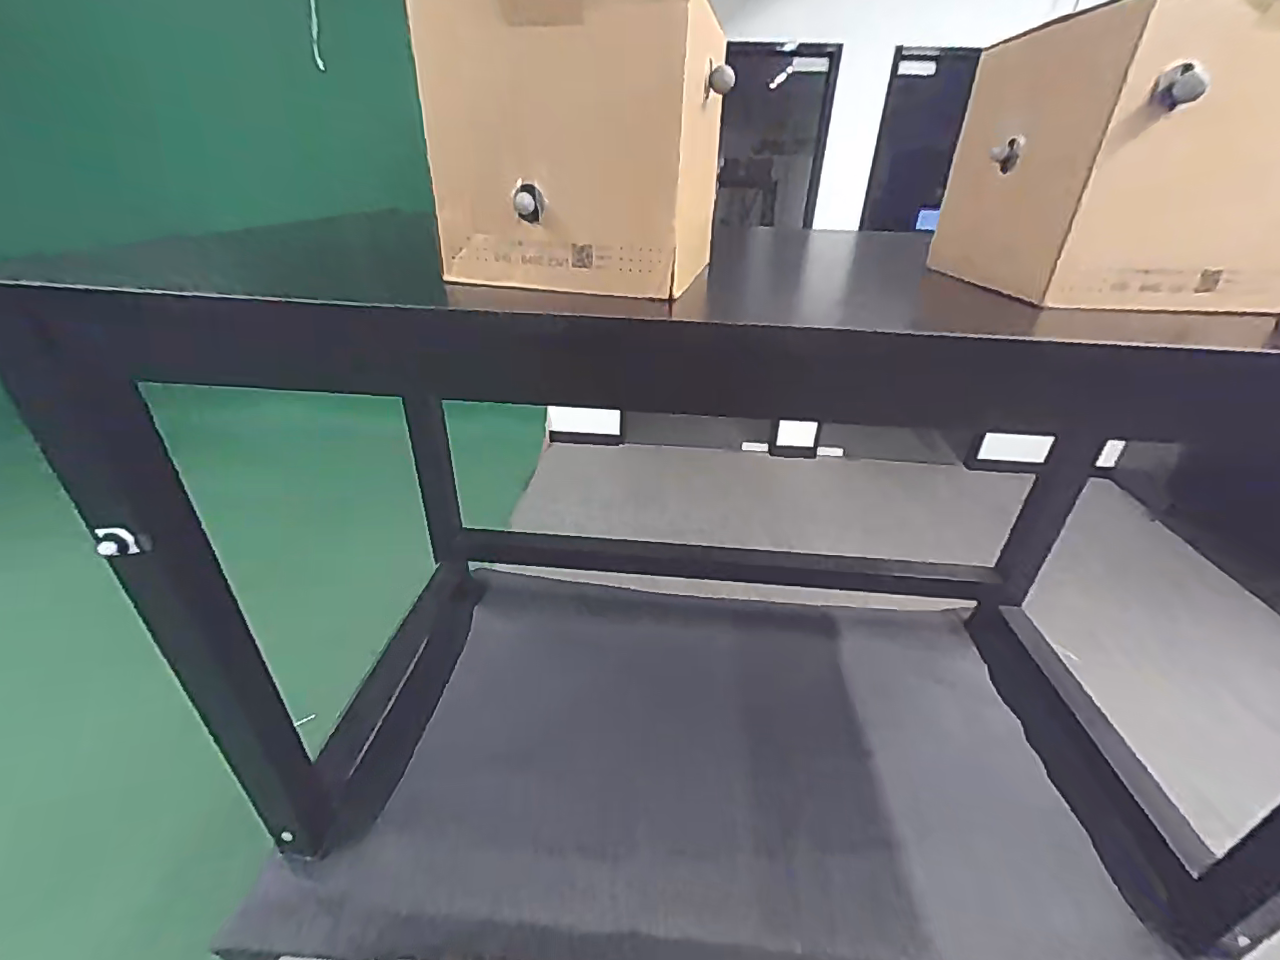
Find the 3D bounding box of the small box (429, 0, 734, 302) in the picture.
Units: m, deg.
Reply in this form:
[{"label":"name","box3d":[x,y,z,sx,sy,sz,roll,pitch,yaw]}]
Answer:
[{"label":"small box","box3d":[-0.030,-0.240,0.400,0.168,0.176,0.179,9,31,10]}]
